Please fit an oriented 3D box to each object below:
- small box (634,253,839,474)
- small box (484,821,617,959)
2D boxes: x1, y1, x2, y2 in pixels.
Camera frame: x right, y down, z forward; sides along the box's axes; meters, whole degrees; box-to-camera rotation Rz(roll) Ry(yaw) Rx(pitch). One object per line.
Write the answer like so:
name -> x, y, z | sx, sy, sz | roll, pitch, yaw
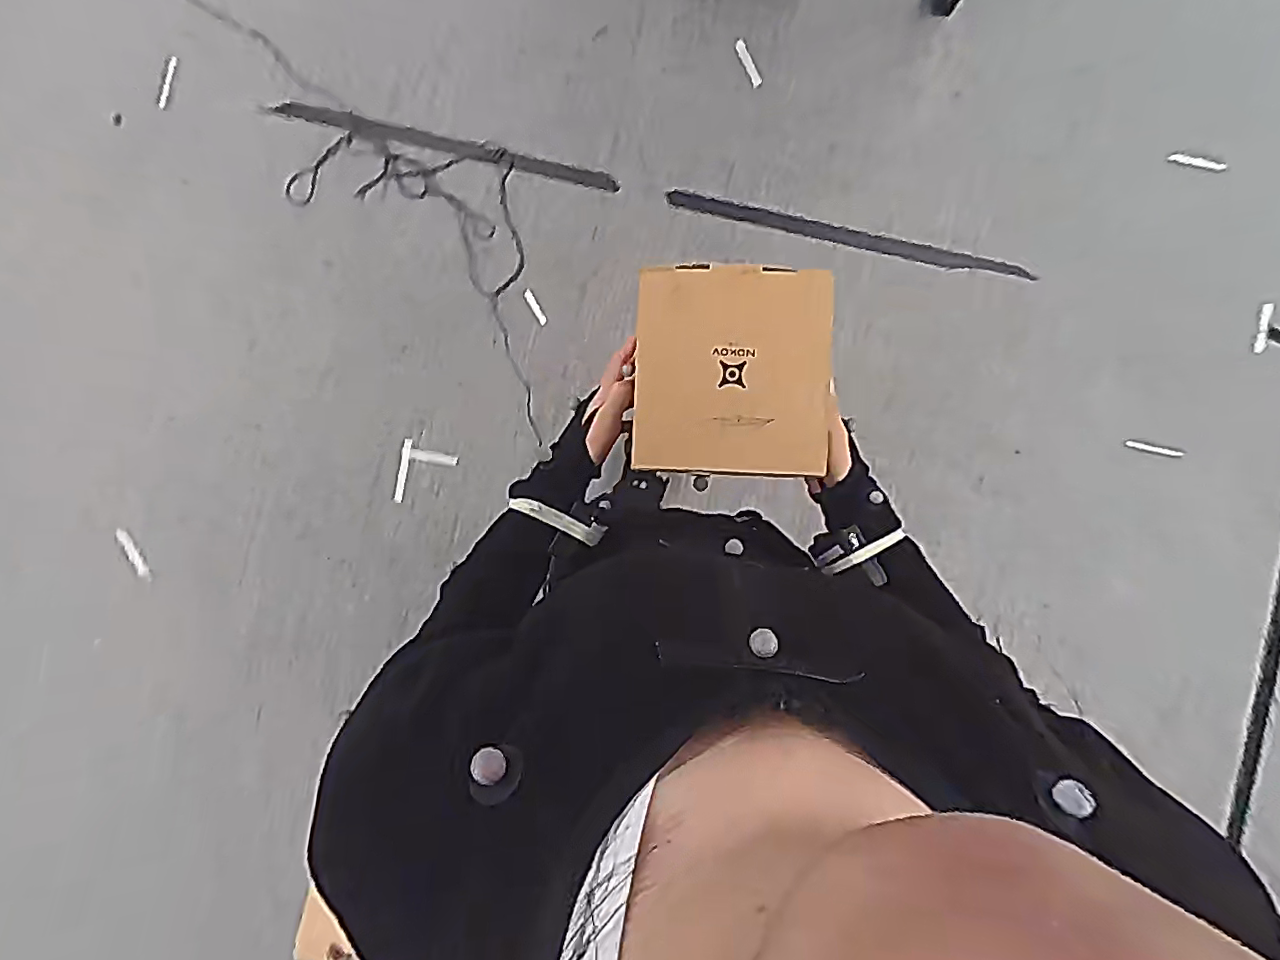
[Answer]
small box -> 0.082, -0.099, 0.532 | 0.168, 0.176, 0.179 | 3, 90, 2
small box -> -0.130, 0.662, 0.814 | 0.168, 0.176, 0.179 | 11, 89, 0
